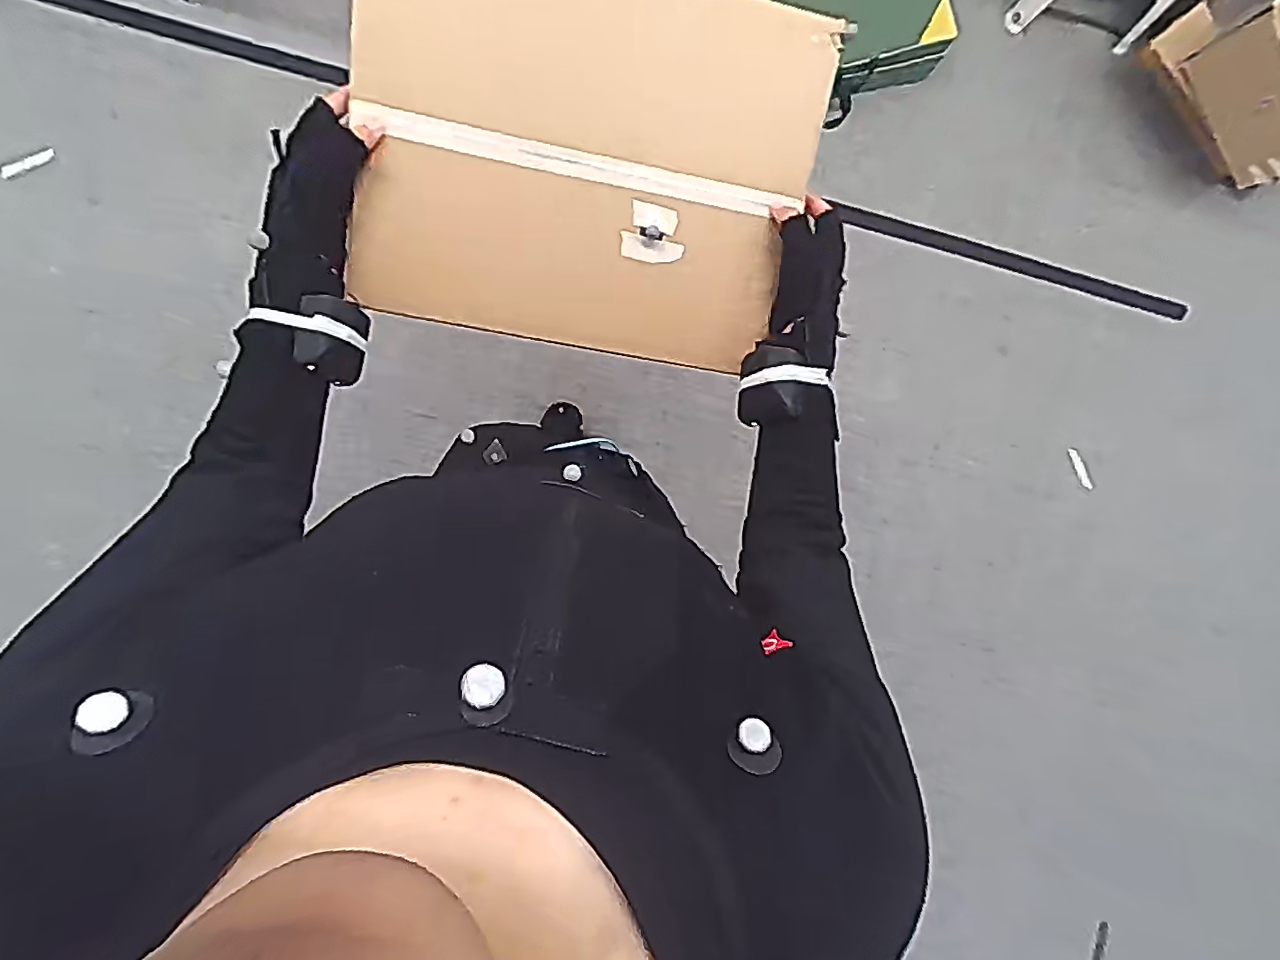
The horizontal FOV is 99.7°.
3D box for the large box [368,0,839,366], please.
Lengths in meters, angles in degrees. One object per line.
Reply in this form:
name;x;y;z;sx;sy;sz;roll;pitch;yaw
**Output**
large box;-0.055;-0.332;0.642;0.408;0.320;0.320;9;106;-9
